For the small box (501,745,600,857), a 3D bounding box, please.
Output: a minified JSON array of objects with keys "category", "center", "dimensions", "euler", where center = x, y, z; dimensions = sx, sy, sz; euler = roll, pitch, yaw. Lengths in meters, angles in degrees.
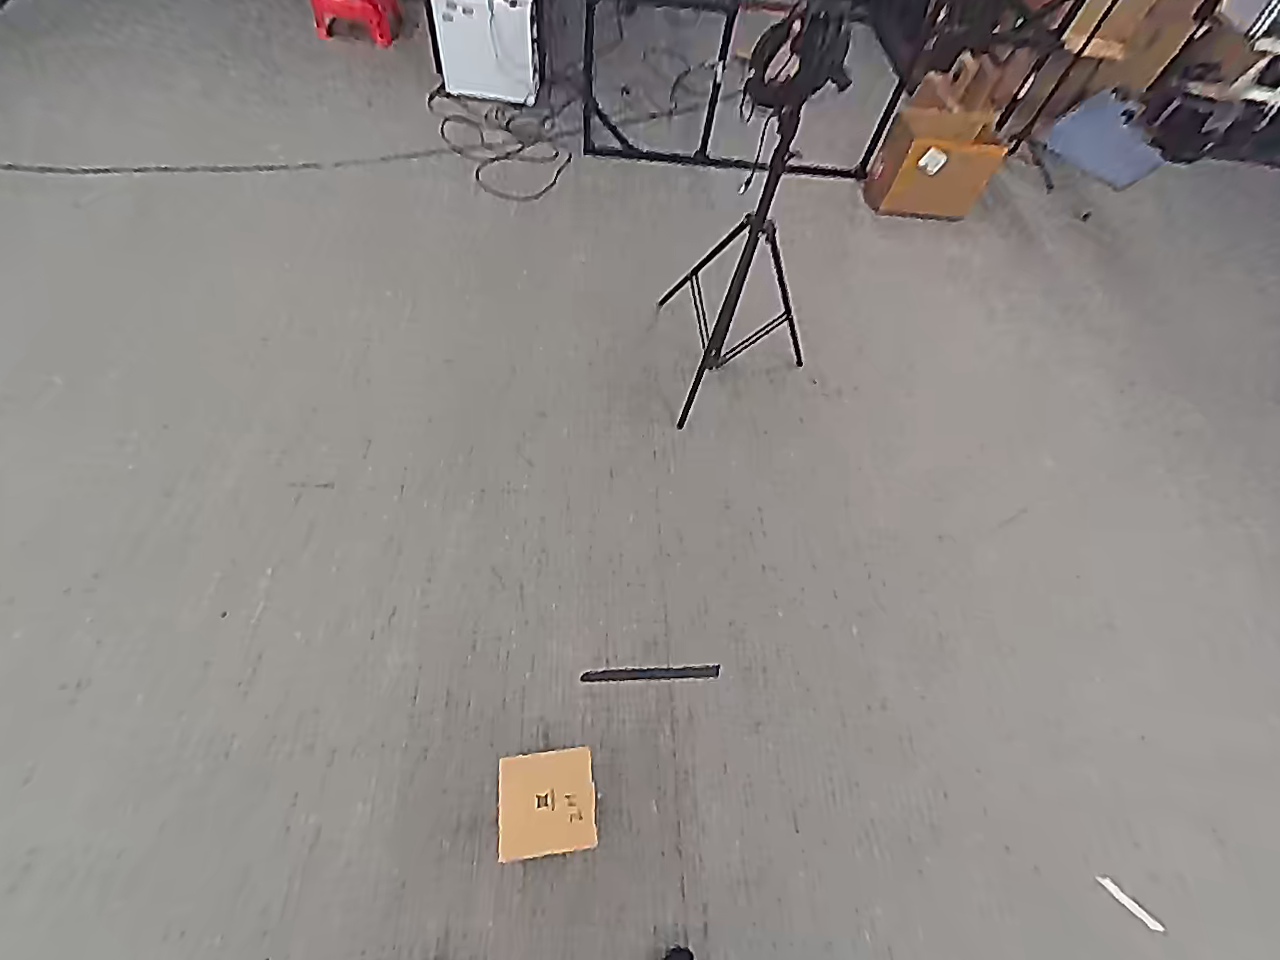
[{"category":"small box","center":[-0.171,0.624,1.056],"dimensions":[0.179,0.176,0.168],"euler":[-3,60,-8]}]
